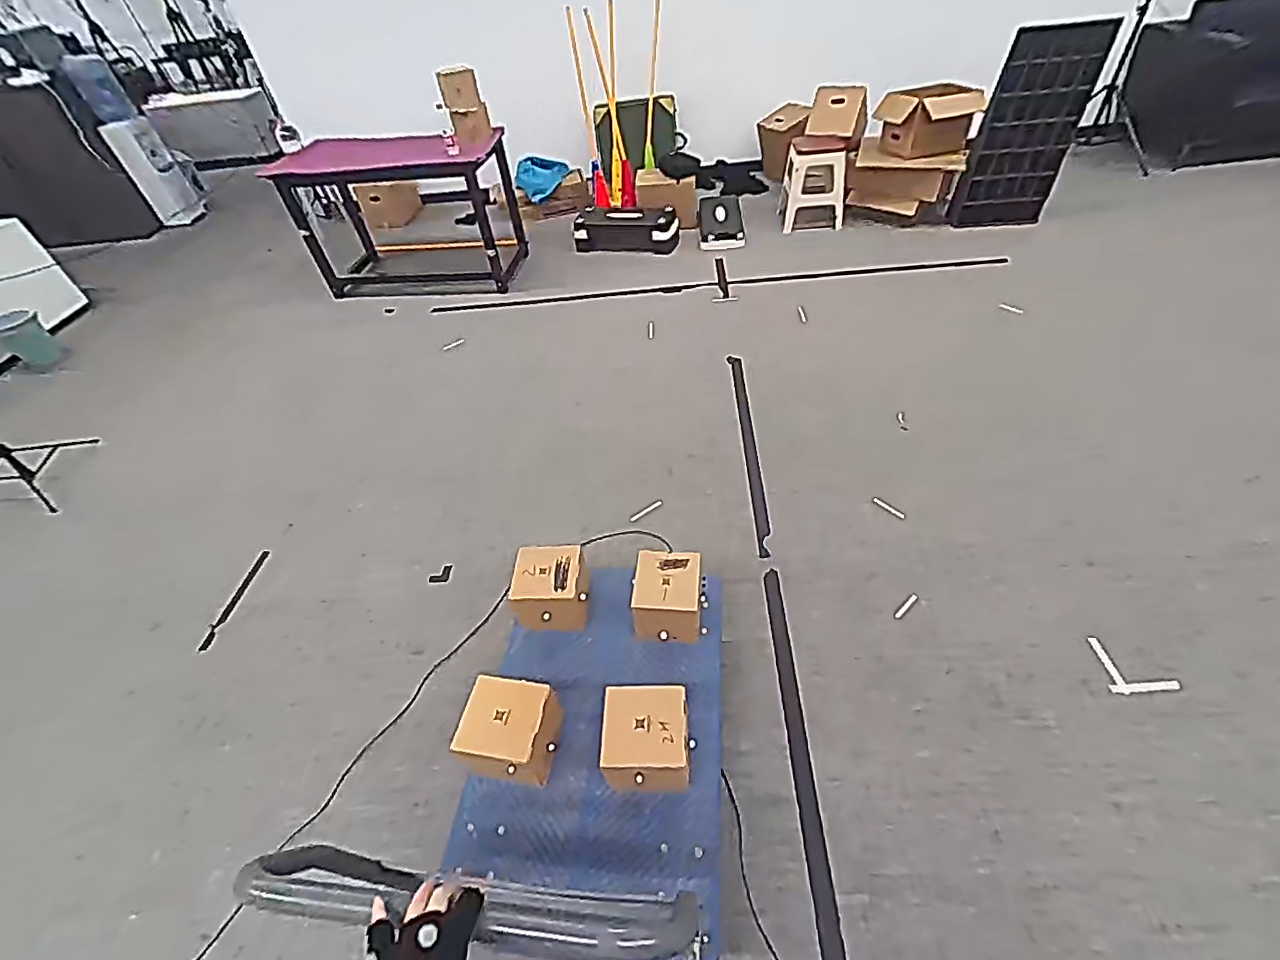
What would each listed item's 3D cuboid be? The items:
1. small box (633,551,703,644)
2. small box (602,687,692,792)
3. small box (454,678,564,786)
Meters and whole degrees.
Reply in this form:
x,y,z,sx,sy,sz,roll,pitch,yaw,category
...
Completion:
x,y,z,sx,sy,sz,roll,pitch,yaw,category
0.080,0.310,1.427,0.168,0.176,0.179,1,47,9,small box
0.022,0.568,1.180,0.179,0.176,0.168,-3,46,6,small box
-0.286,0.571,1.221,0.179,0.176,0.168,4,46,10,small box
